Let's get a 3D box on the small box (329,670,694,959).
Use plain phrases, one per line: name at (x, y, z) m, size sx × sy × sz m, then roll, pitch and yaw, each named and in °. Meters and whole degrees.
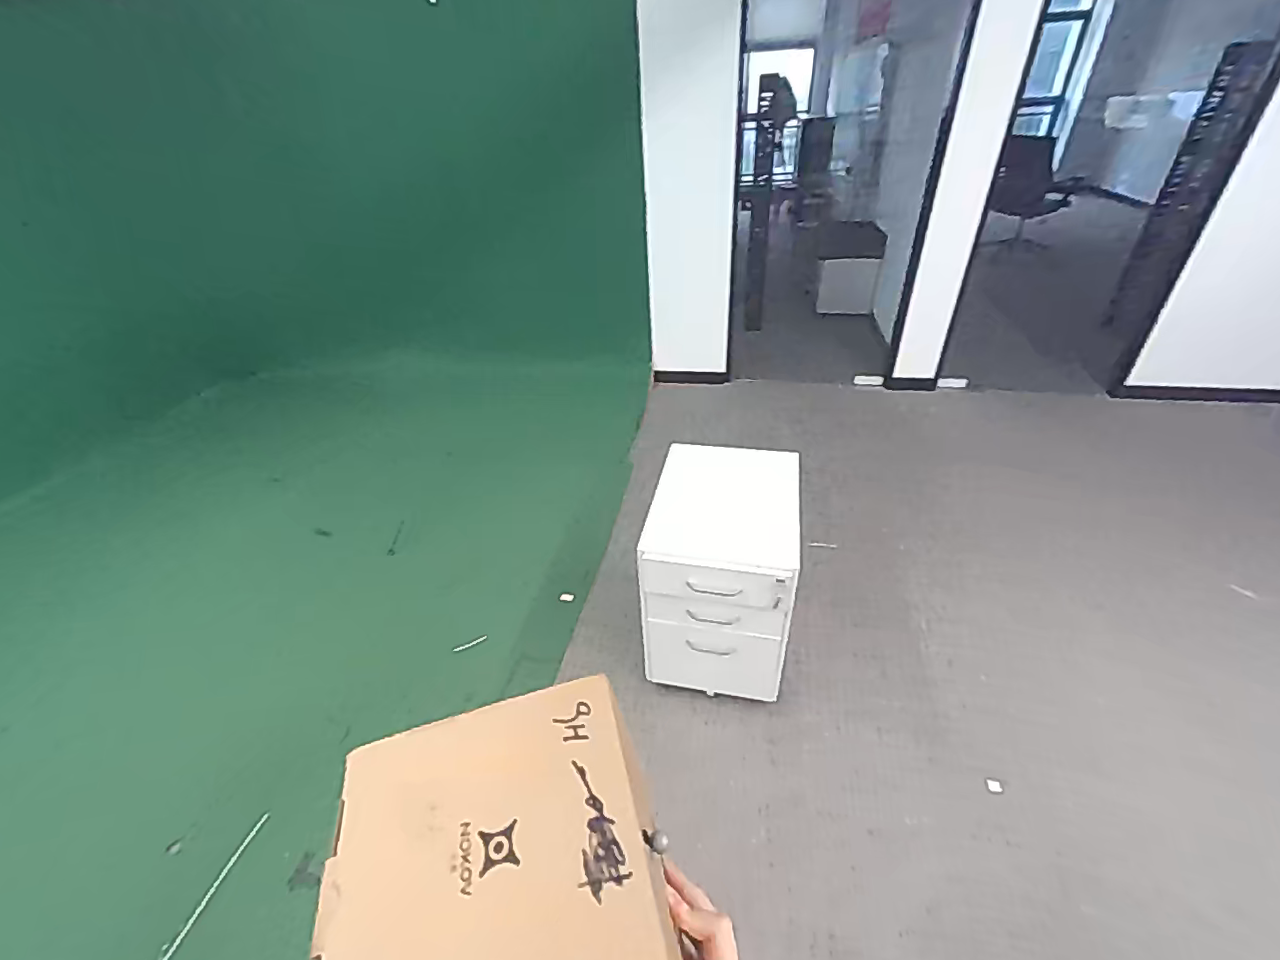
small box at (-0.072, 0.261, 0.360) m, size 0.179 × 0.176 × 0.168 m, roll -15°, pitch 45°, yaw -4°
